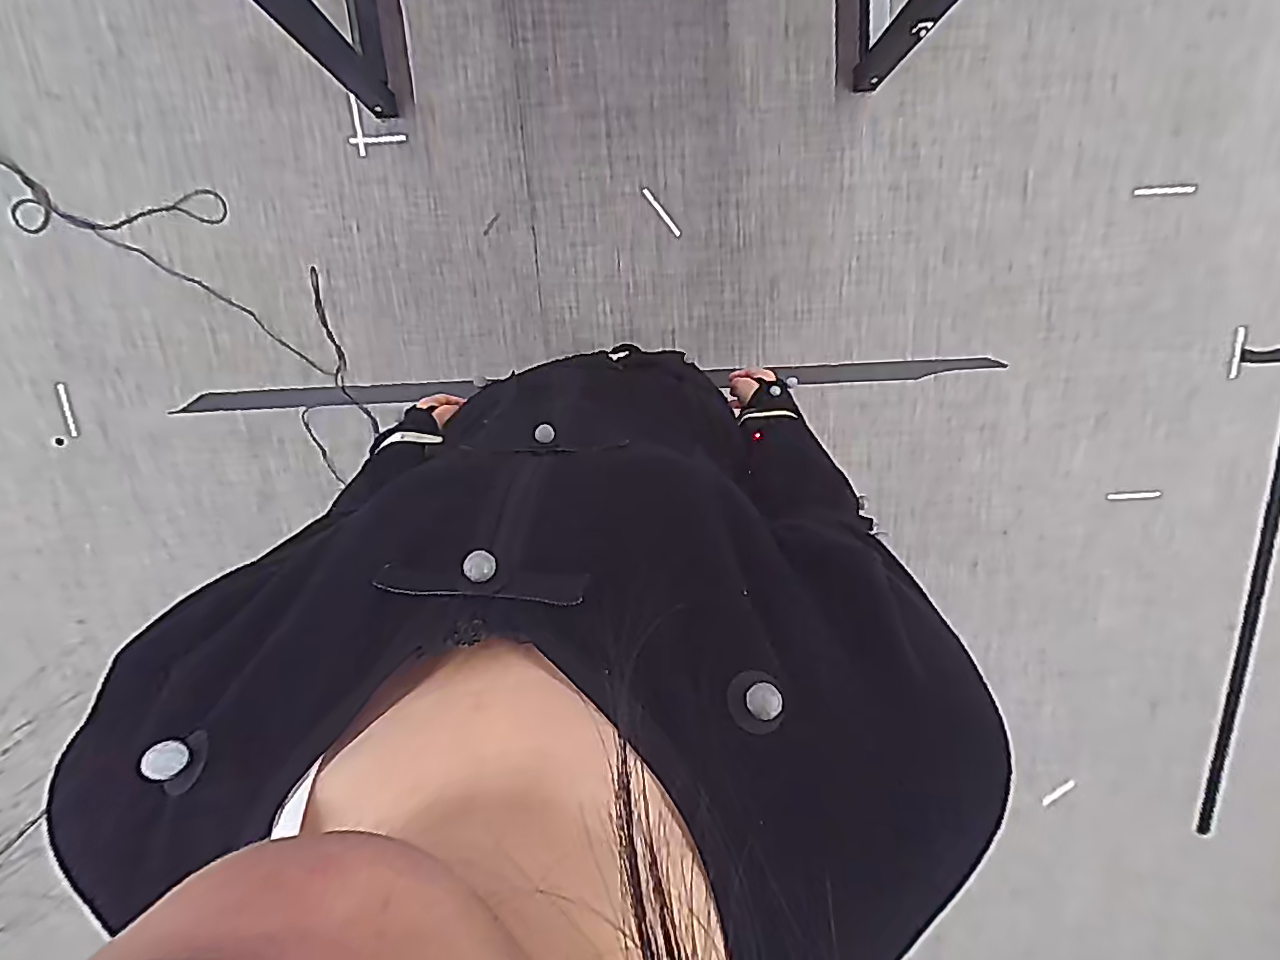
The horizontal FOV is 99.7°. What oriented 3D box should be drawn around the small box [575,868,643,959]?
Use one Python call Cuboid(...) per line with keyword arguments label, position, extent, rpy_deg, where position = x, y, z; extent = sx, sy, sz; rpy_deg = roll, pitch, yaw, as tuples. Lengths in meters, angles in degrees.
Cuboid(label="small box", position=(-0.082, 1.227, 1.497), extent=(0.168, 0.176, 0.179), rpy_deg=(-8, 103, -1))
